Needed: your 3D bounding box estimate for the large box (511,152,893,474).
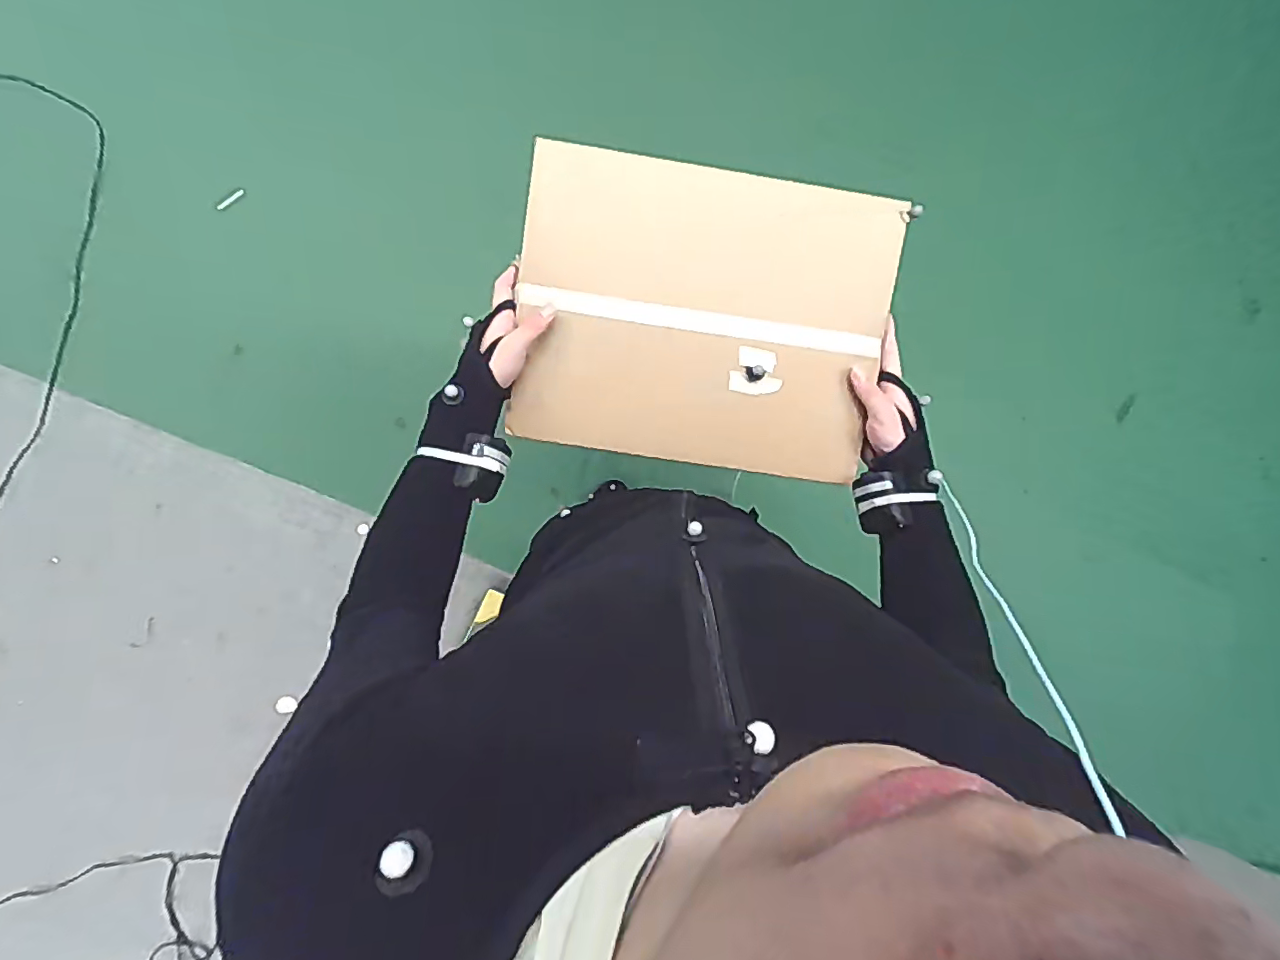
[{"bbox_3d":[0.060,-0.200,0.754,0.408,0.320,0.320,8,99,-3],"label":"large box"}]
